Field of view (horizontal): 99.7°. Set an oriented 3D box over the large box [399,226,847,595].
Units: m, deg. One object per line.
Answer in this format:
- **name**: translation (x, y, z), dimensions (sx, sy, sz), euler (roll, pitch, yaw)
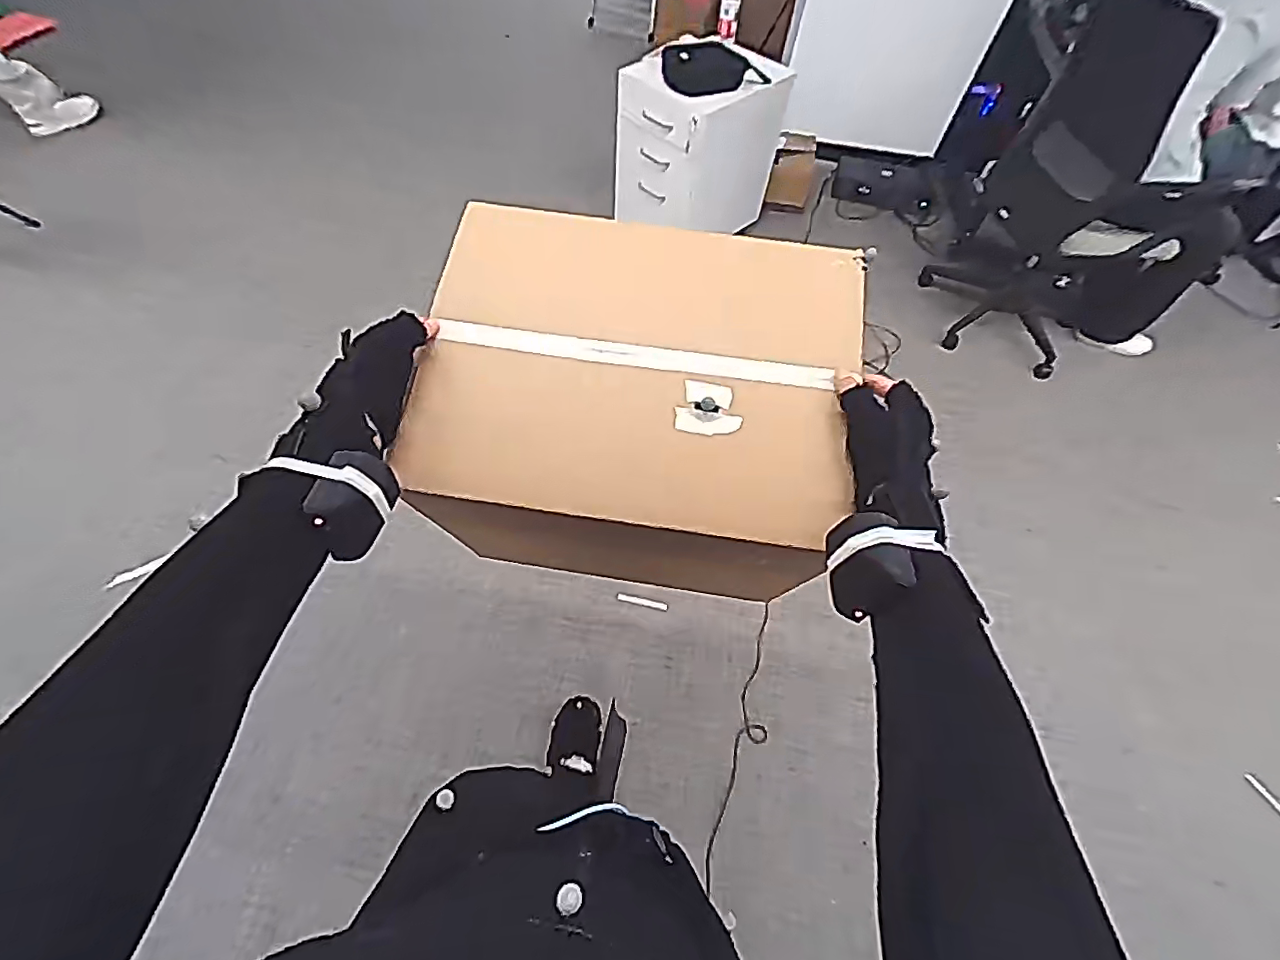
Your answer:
- **large box**: translation (-0.004, -0.057, 0.662), dimensions (0.408, 0.320, 0.320), euler (8, 71, 2)
